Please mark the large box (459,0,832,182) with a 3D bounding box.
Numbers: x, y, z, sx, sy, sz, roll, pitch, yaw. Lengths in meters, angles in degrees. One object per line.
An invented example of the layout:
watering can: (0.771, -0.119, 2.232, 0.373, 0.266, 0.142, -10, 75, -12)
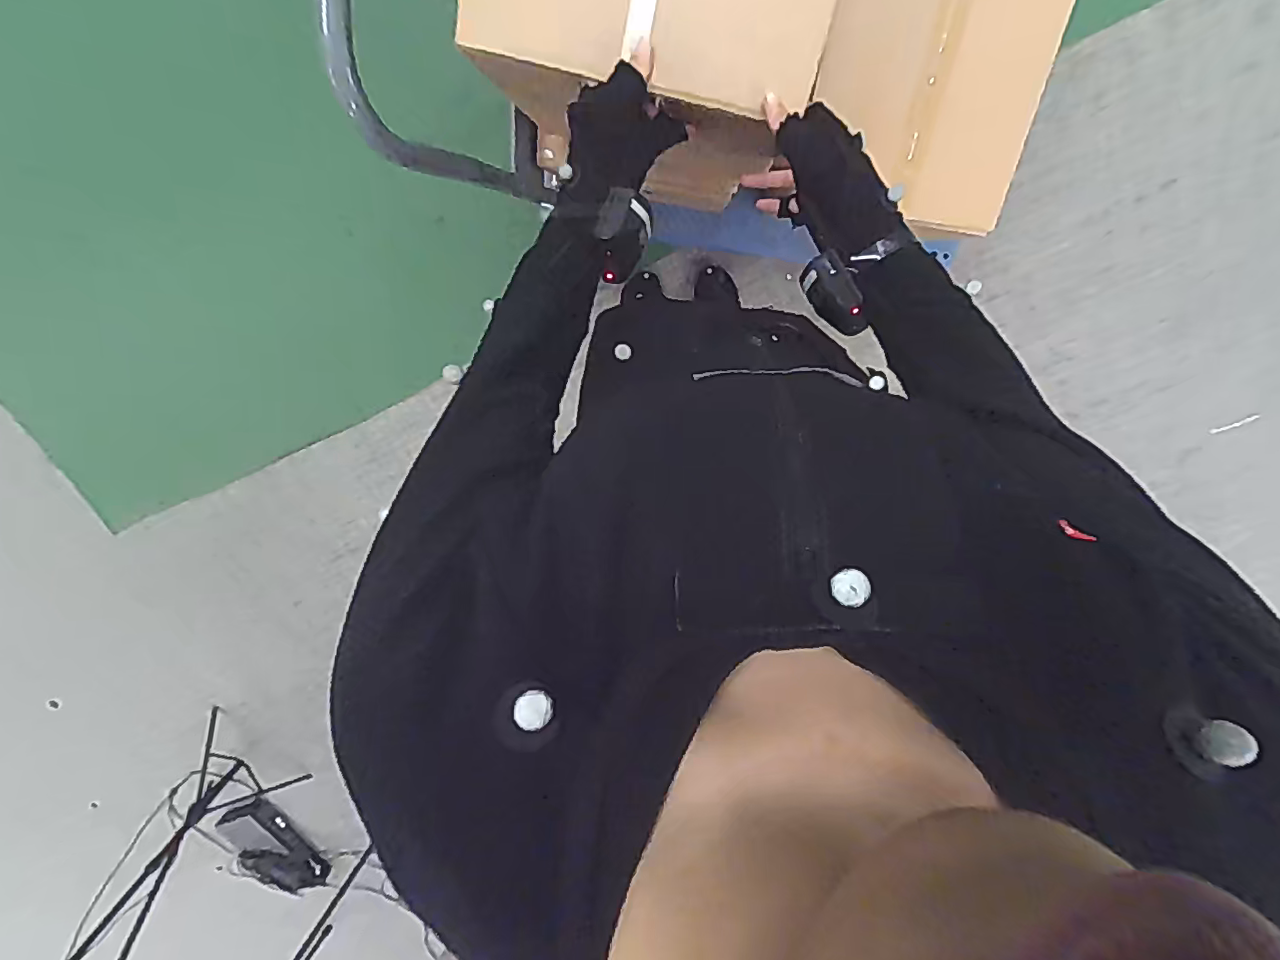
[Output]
large box: (0.046, -0.576, 0.547, 0.320, 0.320, 0.408, 15, 110, 1)
